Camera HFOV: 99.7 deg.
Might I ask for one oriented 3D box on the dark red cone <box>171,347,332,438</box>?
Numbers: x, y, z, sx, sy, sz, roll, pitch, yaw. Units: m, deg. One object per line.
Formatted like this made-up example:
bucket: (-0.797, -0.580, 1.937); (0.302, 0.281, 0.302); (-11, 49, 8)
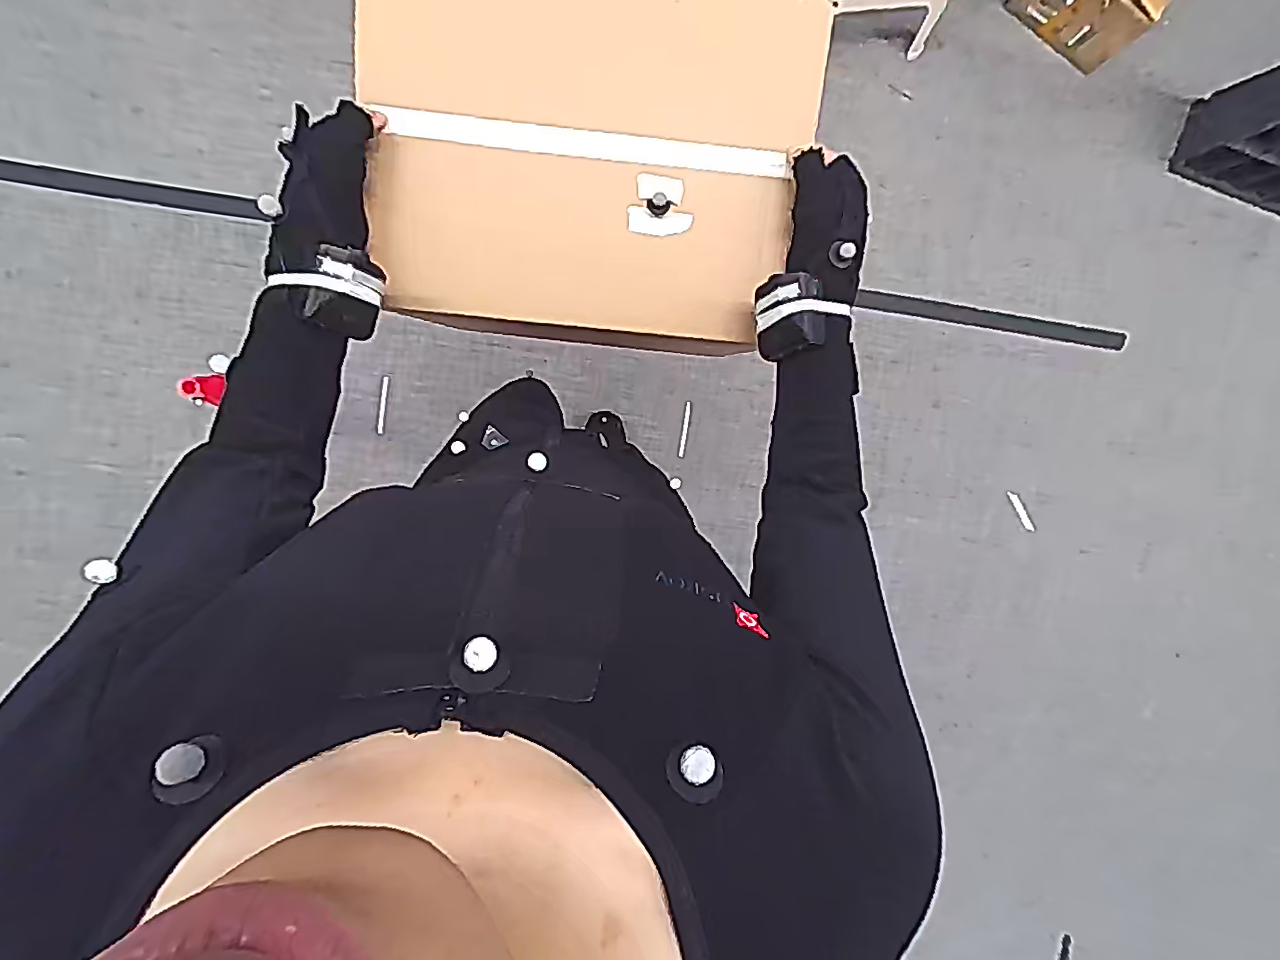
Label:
dark red cone: (-0.876, -0.207, 1.200); (0.201, 0.394, 0.202); (14, 94, -6)

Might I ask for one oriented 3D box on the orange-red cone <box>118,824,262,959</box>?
orange-red cone: (-1.134, 1.062, 1.317); (0.198, 0.360, 0.199); (6, 96, -3)

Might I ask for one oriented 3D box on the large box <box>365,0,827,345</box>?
large box: (-0.052, -0.338, 0.632); (0.408, 0.320, 0.320); (5, 101, -4)
